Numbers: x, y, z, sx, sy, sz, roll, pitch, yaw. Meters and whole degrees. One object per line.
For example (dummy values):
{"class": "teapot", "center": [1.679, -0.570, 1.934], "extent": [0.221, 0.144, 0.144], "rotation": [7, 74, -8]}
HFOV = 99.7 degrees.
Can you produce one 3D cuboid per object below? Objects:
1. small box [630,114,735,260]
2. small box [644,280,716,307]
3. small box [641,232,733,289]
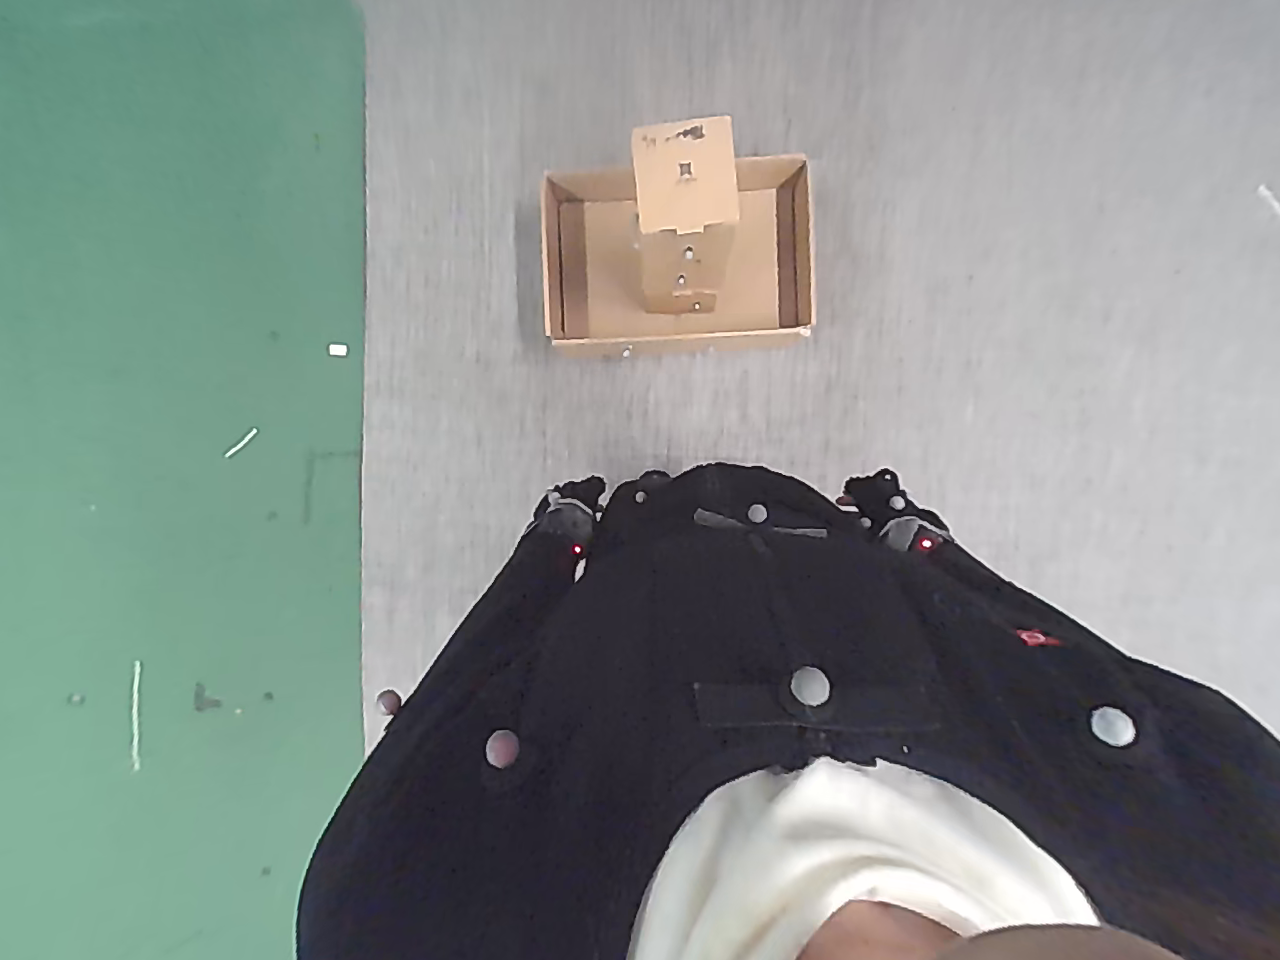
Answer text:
{"class": "small box", "center": [0.076, -0.508, 0.966], "extent": [0.168, 0.176, 0.179], "rotation": [-5, 92, 4]}
{"class": "small box", "center": [0.096, -0.520, 1.292], "extent": [0.168, 0.176, 0.179], "rotation": [0, 91, 3]}
{"class": "small box", "center": [0.089, -0.512, 1.129], "extent": [0.179, 0.176, 0.168], "rotation": [-5, 92, 2]}
